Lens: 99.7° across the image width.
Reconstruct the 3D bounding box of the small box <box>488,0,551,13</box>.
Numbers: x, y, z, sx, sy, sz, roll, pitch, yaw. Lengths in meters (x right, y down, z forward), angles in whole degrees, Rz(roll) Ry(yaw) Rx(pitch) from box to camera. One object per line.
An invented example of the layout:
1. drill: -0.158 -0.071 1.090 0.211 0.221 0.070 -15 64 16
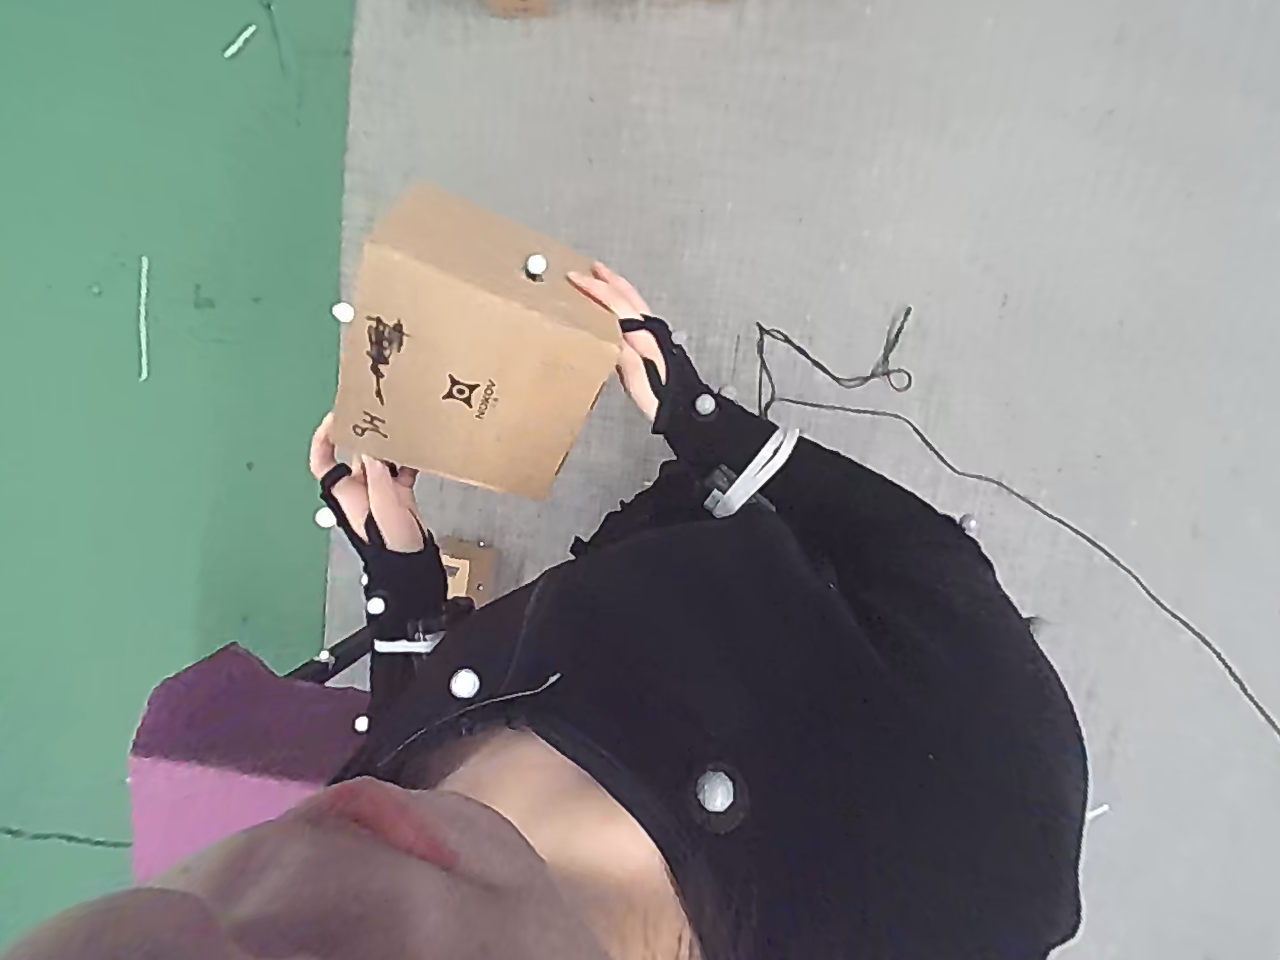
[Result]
1. small box: -0.307 -1.272 1.297 0.168 0.176 0.179 7 98 7
